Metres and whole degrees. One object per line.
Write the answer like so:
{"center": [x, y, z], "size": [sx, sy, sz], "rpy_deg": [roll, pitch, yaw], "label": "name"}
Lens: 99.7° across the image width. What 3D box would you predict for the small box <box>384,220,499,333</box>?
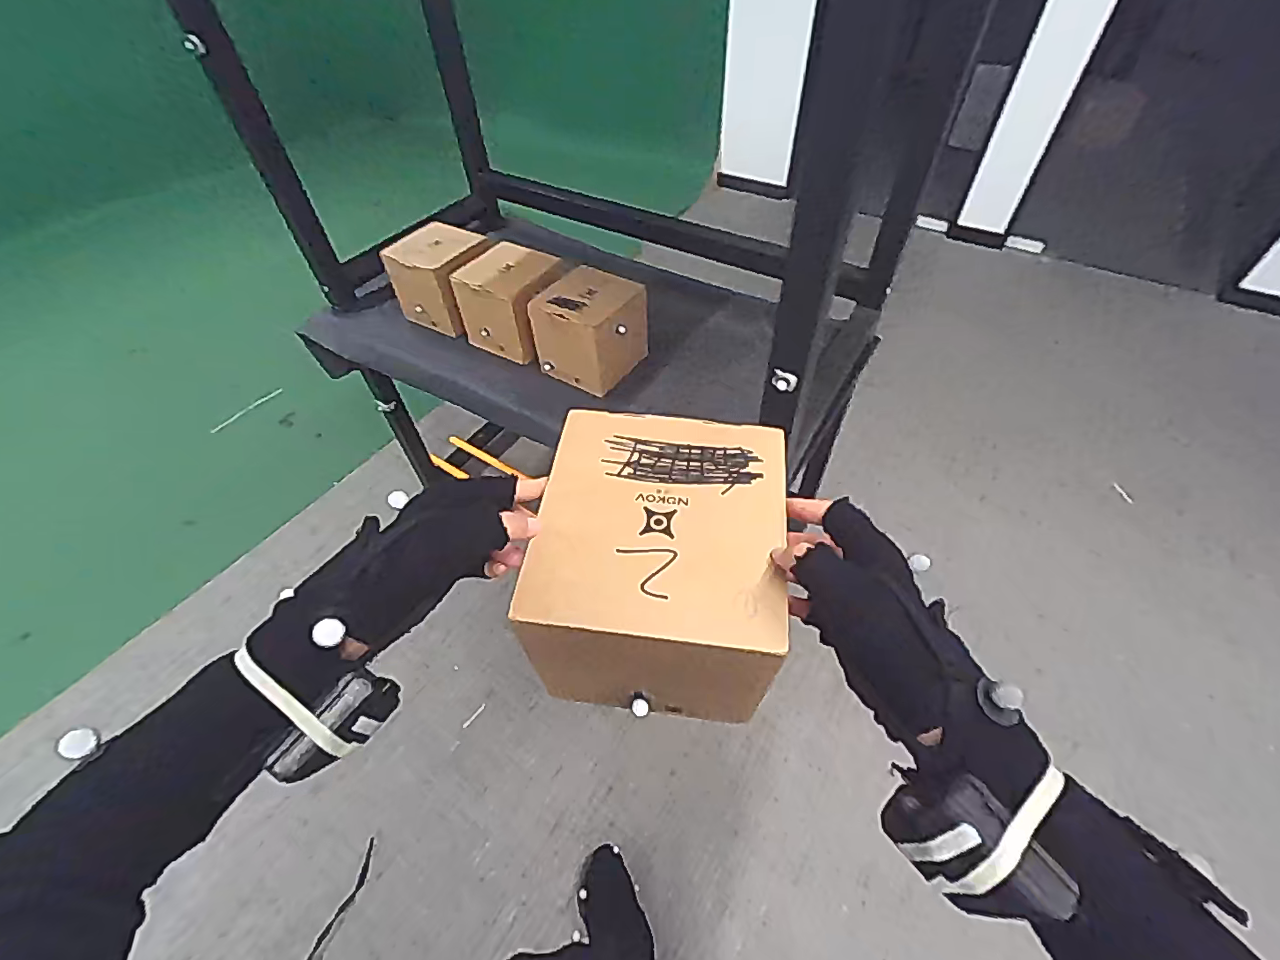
{"center": [-0.452, -0.476, 1.265], "size": [0.168, 0.176, 0.179], "rpy_deg": [24, 55, 20], "label": "small box"}
